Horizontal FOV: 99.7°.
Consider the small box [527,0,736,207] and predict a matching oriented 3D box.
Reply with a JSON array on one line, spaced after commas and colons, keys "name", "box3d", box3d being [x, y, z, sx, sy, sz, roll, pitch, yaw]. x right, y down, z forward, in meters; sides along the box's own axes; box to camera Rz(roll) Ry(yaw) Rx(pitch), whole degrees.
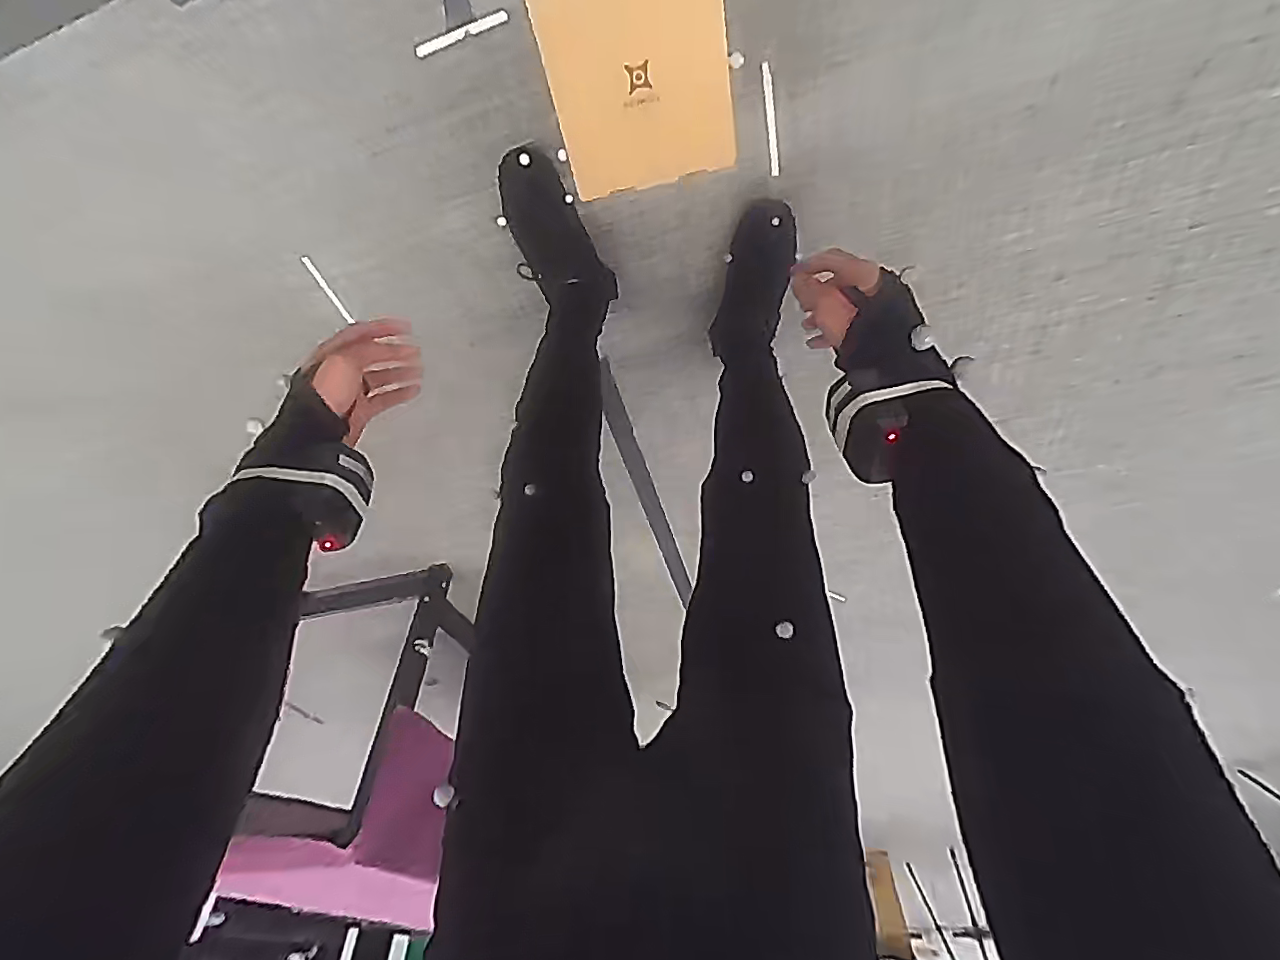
[{"name": "small box", "box3d": [-0.001, -0.414, 0.550, 0.168, 0.176, 0.179, -9, 136, 9]}]
